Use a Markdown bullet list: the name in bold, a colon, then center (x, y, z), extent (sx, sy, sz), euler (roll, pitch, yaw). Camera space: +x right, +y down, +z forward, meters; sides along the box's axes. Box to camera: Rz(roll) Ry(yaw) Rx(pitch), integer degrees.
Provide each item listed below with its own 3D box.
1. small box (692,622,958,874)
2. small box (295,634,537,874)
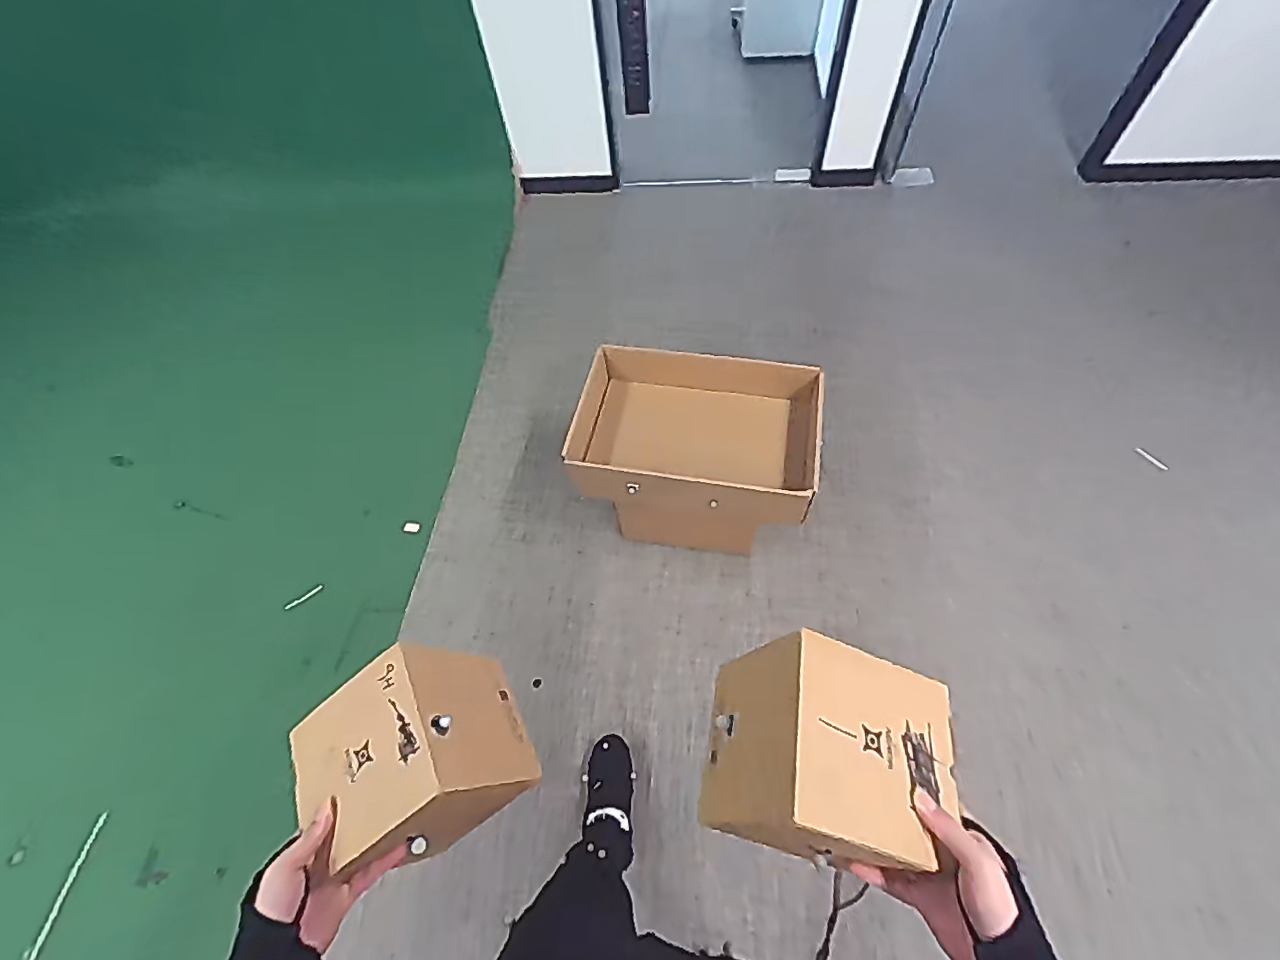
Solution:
- **small box**: center (0.176, 0.270, 0.545), extent (0.179, 0.176, 0.168), euler (24, 52, -9)
- **small box**: center (-0.253, 0.306, 0.620), extent (0.179, 0.176, 0.168), euler (-39, 55, 7)
